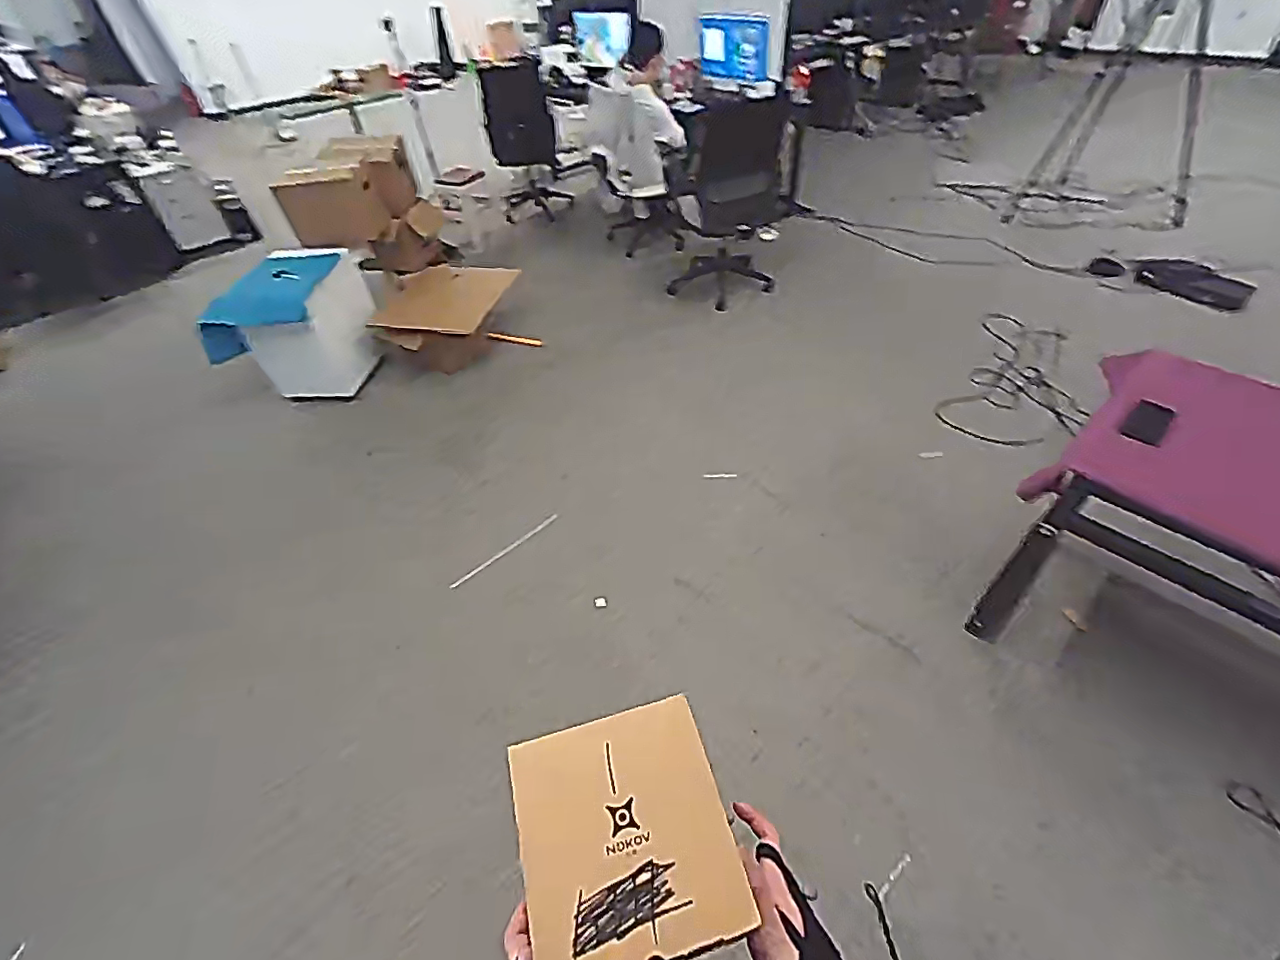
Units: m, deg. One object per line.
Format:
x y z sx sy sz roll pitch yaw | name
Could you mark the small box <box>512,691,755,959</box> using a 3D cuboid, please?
-0.010 0.324 0.497 0.168 0.176 0.179 -13 53 -8 | small box
